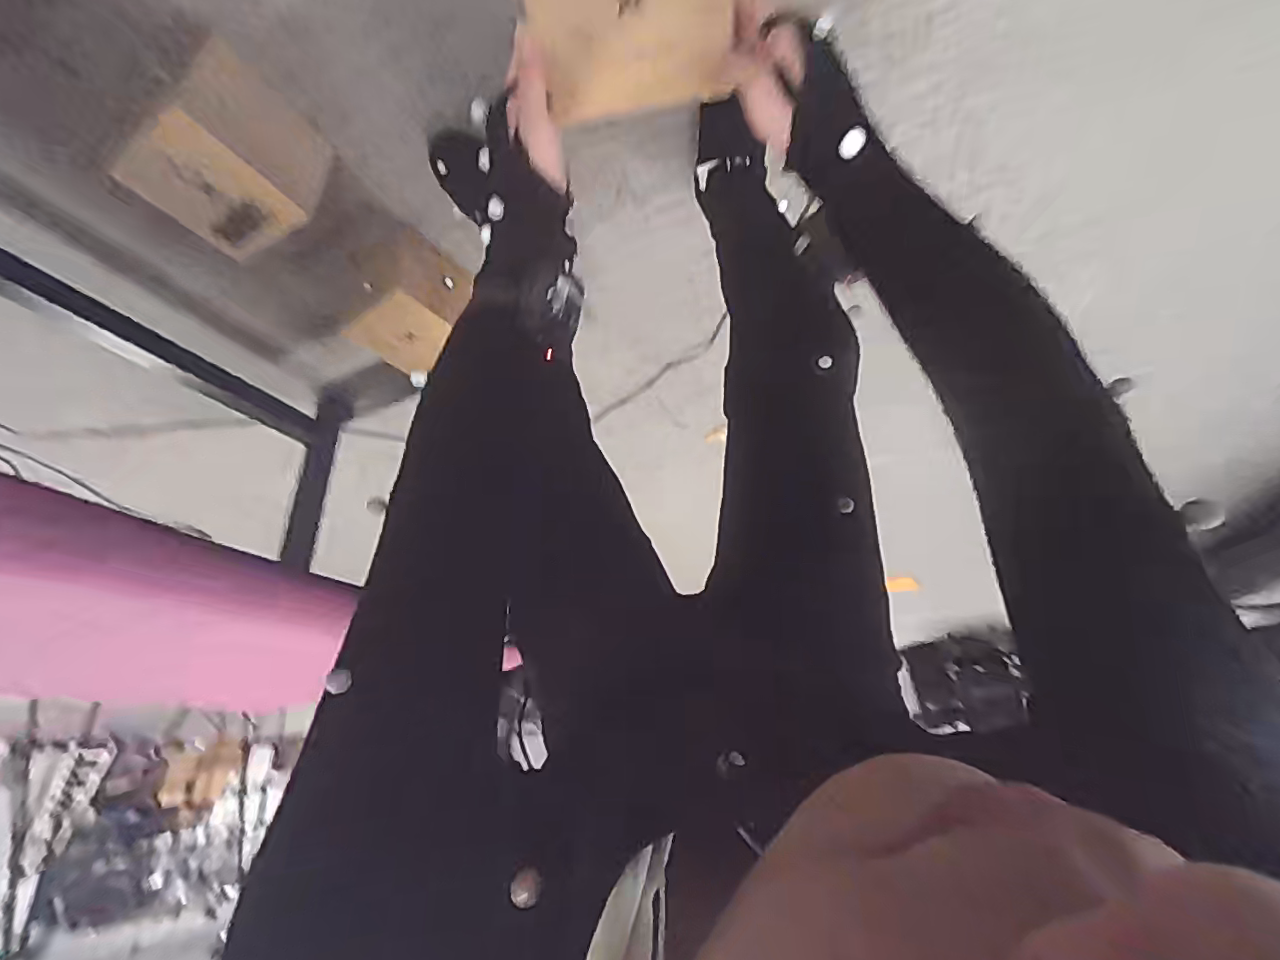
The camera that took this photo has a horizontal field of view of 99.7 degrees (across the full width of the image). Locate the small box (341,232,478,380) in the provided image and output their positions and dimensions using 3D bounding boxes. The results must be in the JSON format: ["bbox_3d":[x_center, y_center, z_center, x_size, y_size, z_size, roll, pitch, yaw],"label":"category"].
[{"bbox_3d":[-0.427,-0.326,1.023,0.179,0.176,0.168,-21,148,26],"label":"small box"}]
